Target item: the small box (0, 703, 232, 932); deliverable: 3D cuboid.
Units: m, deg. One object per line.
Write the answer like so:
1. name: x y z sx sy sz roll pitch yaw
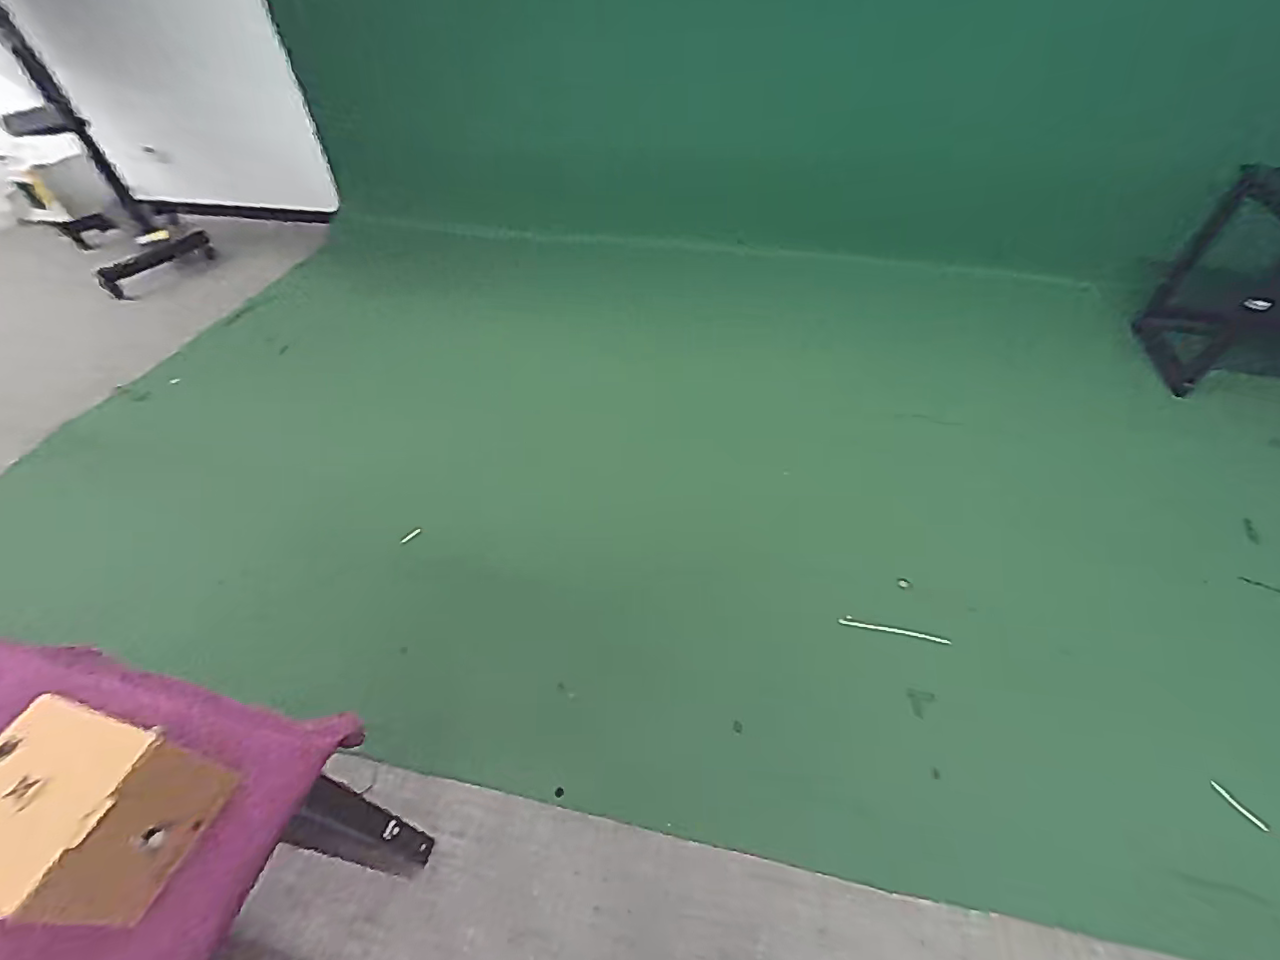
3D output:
1. small box: -0.633 0.387 0.622 0.179 0.176 0.168 13 50 11
